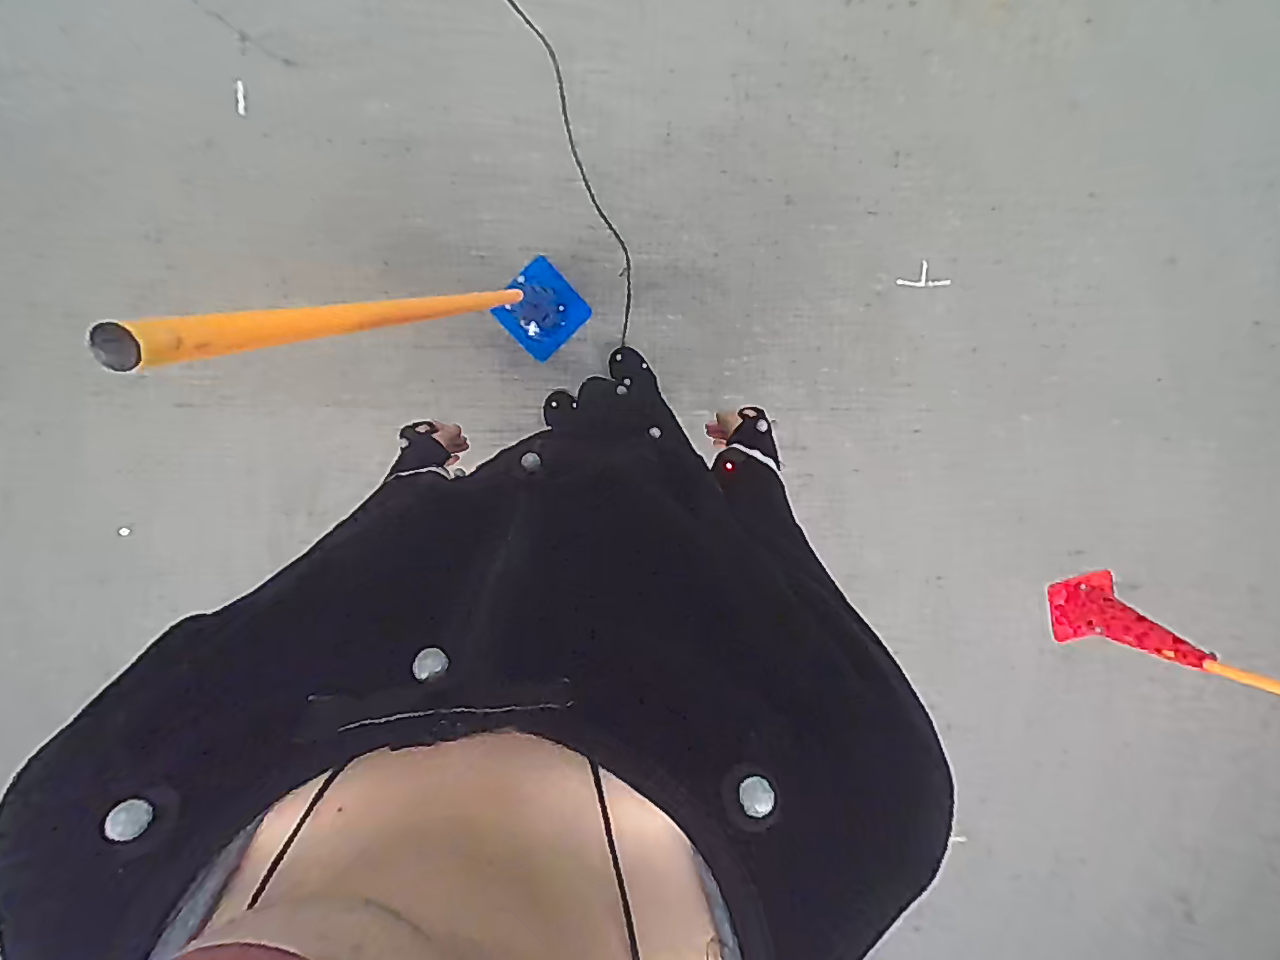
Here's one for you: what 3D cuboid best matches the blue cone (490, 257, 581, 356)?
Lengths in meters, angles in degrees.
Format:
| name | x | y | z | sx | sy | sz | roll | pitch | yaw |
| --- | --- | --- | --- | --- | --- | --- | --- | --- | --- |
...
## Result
| name | x | y | z | sx | sy | sz | roll | pitch | yaw |
| --- | --- | --- | --- | --- | --- | --- | --- | --- | --- |
| blue cone | -0.256 | -0.397 | 1.215 | 0.193 | 0.380 | 0.192 | -44 | 102 | 8 |
